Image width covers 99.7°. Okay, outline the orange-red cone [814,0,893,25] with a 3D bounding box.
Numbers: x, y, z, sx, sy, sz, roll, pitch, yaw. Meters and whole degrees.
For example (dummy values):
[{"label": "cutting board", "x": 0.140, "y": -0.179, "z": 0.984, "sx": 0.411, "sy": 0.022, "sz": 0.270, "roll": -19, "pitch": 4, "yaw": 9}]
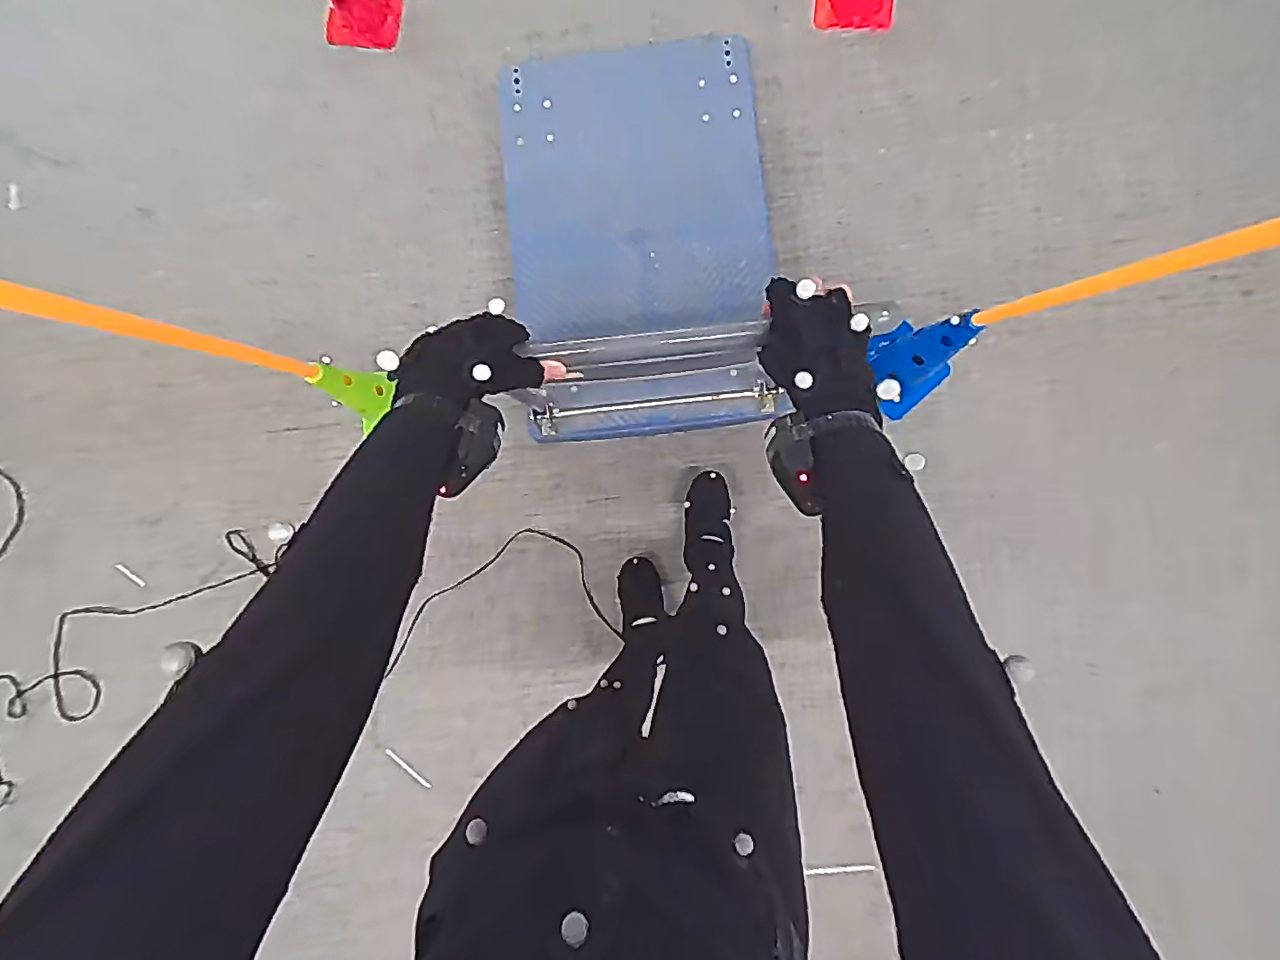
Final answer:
[{"label": "orange-red cone", "x": 0.541, "y": -1.268, "z": 1.214, "sx": 0.198, "sy": 0.360, "sz": 0.199, "roll": 6, "pitch": 88, "yaw": 4}]
